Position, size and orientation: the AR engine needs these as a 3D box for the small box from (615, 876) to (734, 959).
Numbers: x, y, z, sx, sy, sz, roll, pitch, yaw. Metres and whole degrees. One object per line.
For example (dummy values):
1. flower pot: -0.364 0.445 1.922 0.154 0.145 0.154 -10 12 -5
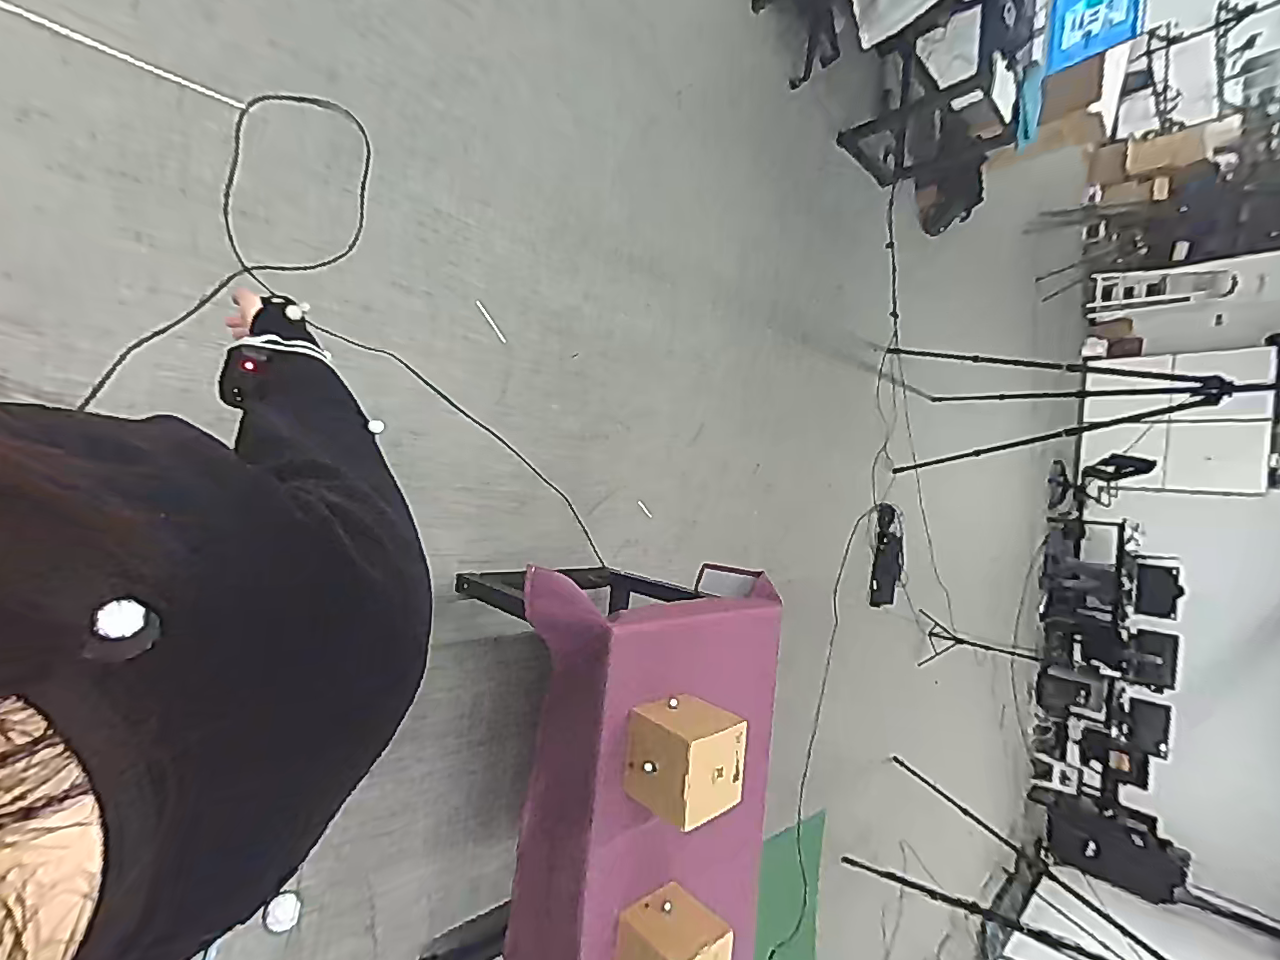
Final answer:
1. small box: 0.064 0.961 1.093 0.168 0.176 0.179 8 88 -43

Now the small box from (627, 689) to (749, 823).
1. small box: 0.093 0.540 1.086 0.179 0.176 0.168 6 90 -42
